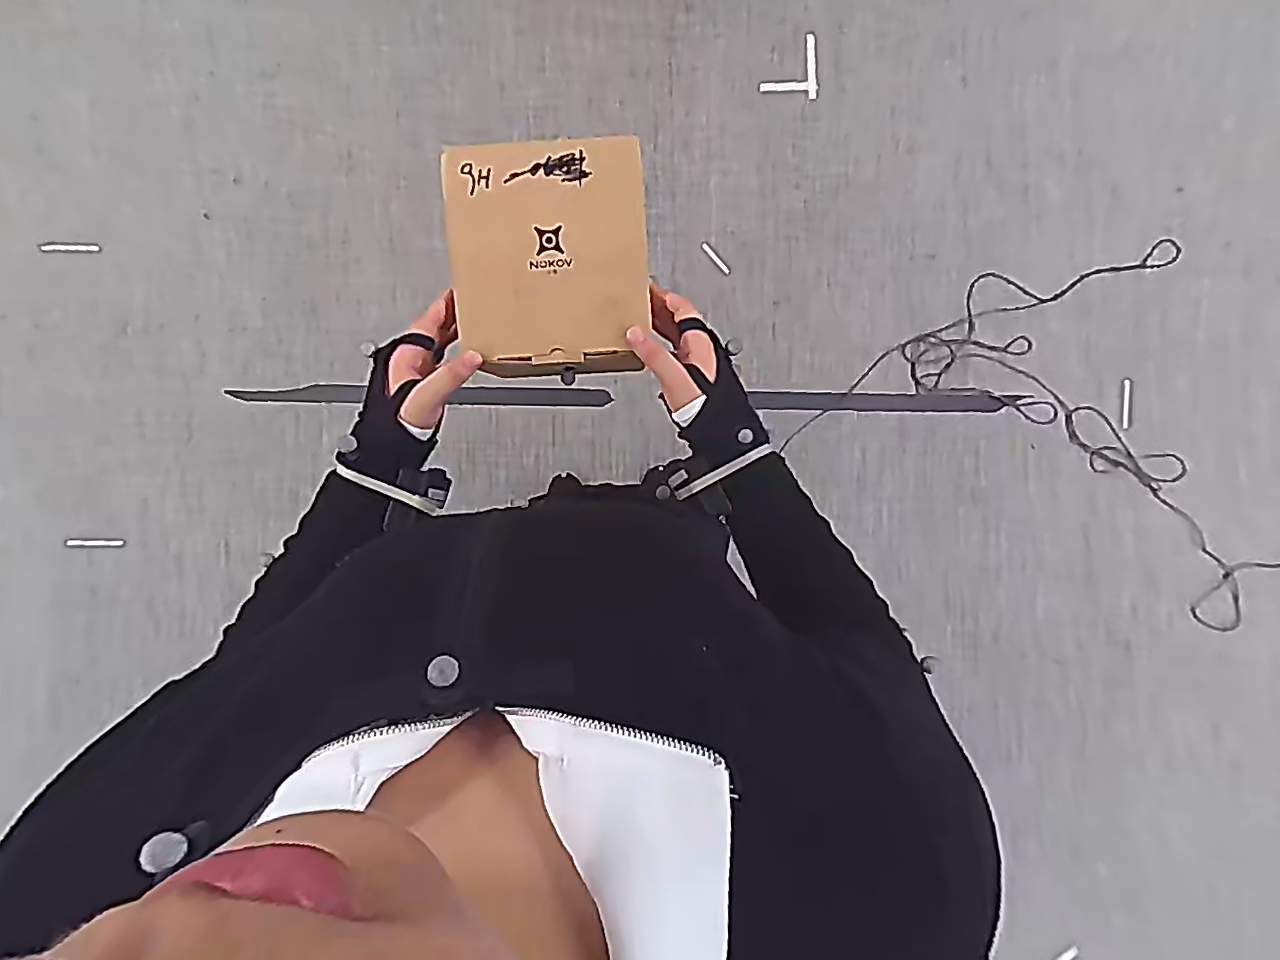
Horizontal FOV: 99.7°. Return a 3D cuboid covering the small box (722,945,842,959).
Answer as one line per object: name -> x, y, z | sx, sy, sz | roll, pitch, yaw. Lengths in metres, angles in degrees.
small box -> 0.207, 0.760, 0.709 | 0.179, 0.176, 0.168 | 1, 91, 0
